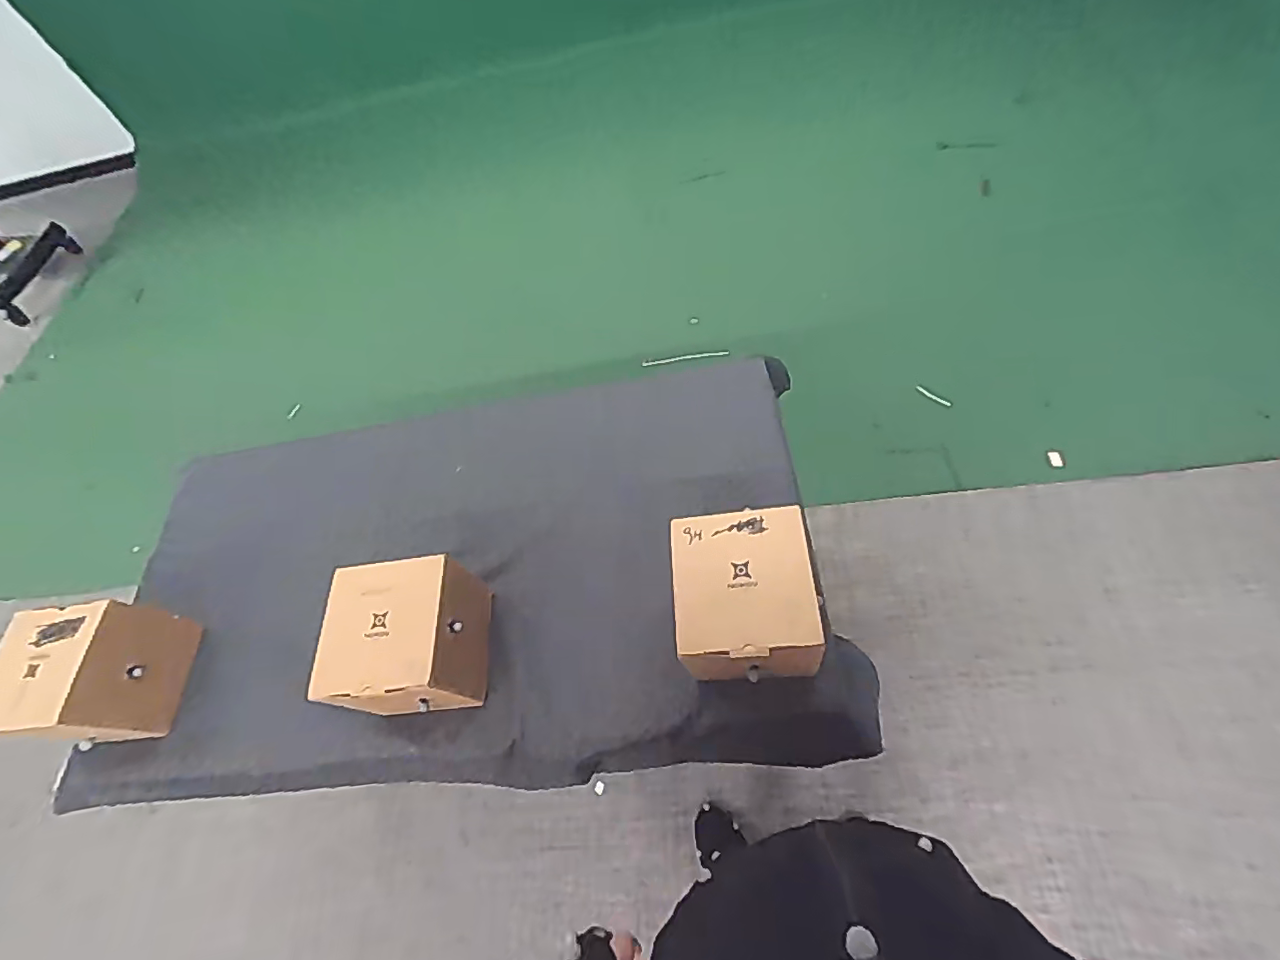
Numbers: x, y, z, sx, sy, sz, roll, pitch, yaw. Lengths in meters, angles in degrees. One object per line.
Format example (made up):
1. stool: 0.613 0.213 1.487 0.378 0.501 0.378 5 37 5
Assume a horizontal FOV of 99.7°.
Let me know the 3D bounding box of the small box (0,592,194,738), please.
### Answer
1. small box: -0.842 0.288 0.827 0.168 0.176 0.179 -8 60 7

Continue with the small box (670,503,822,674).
1. small box: 0.136 0.150 0.699 0.168 0.176 0.179 -7 60 11

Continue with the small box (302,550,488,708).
1. small box: -0.328 0.219 0.764 0.168 0.176 0.179 -8 58 6
